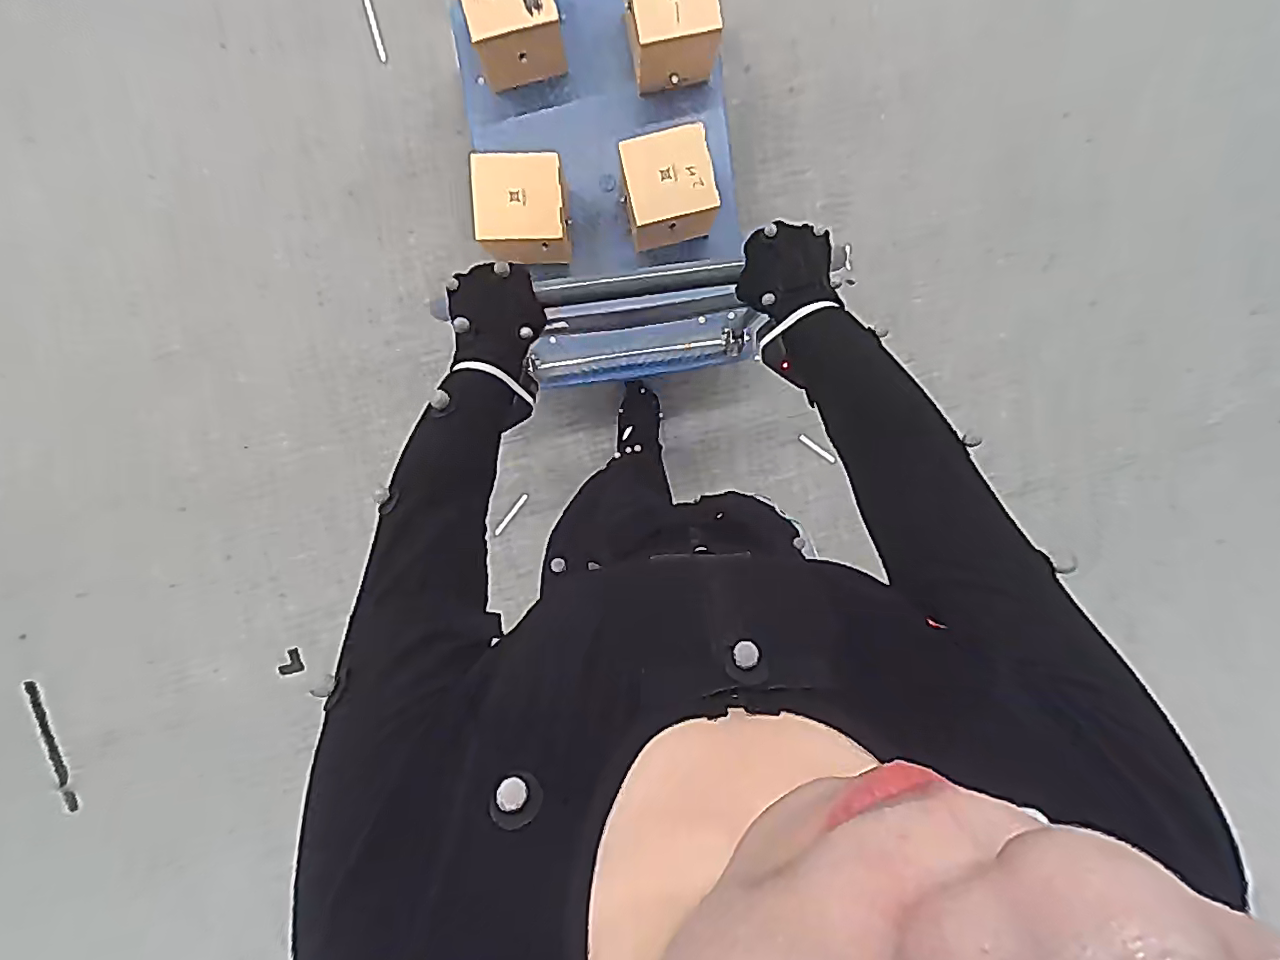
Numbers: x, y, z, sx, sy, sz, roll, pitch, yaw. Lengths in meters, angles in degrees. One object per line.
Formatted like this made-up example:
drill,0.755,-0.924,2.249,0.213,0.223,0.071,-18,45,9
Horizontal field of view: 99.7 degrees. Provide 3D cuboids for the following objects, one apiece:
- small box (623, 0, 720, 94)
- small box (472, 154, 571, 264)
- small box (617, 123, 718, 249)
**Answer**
small box,0.059,-0.954,1.123,0.168,0.176,0.179,-12,97,0
small box,-0.246,-0.571,1.158,0.179,0.176,0.168,-3,96,-3
small box,0.056,-0.617,1.159,0.179,0.176,0.168,-14,96,0
